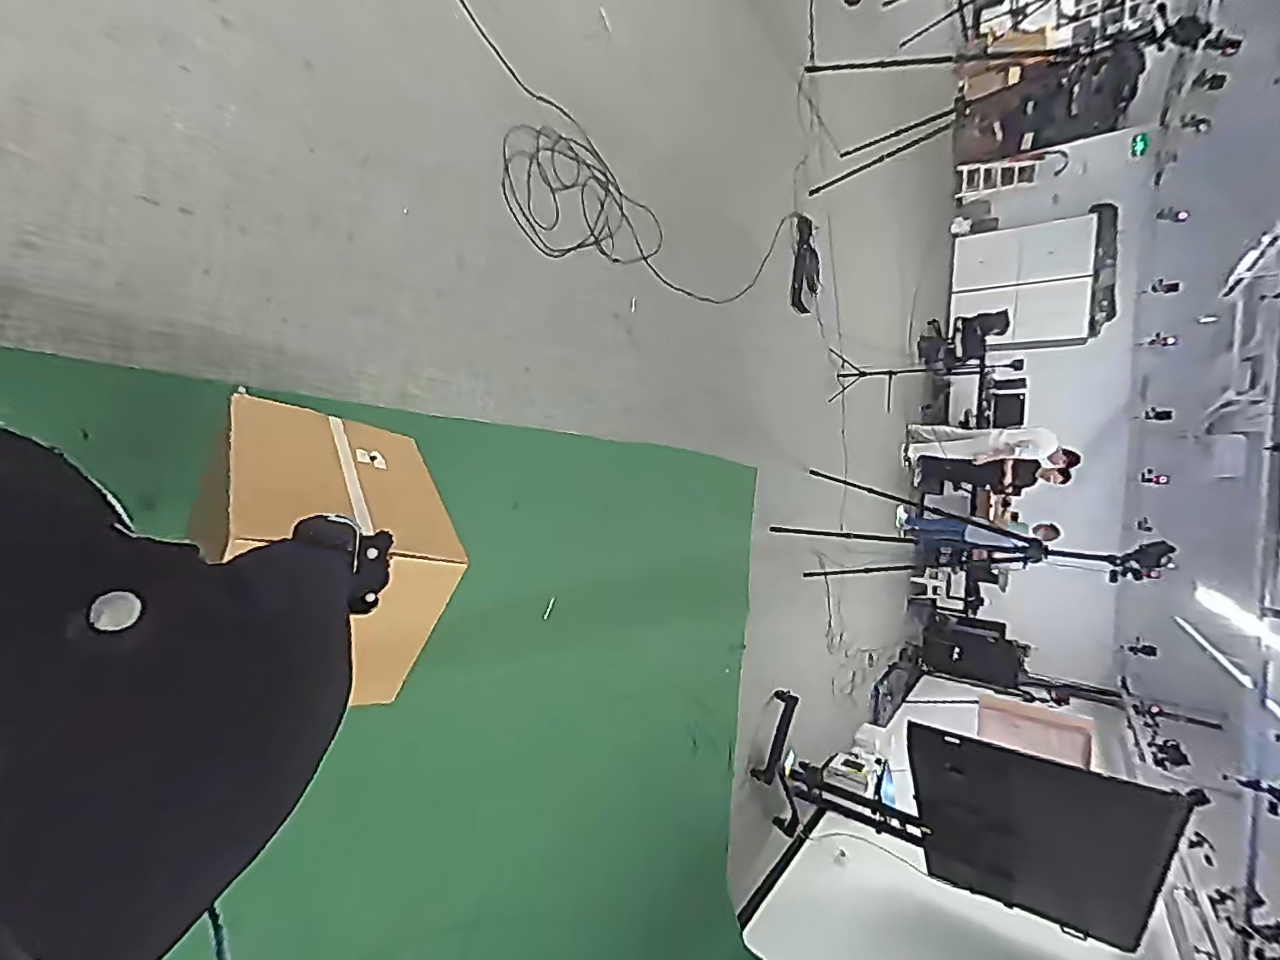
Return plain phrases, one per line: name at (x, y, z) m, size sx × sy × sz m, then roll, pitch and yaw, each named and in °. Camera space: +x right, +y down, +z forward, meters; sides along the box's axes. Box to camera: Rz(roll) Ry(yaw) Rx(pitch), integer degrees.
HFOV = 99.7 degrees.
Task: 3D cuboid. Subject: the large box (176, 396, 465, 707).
large box at (-0.558, 0.115, 0.929) m, size 0.320 × 0.408 × 0.320 m, roll 17°, pitch 111°, yaw -44°
